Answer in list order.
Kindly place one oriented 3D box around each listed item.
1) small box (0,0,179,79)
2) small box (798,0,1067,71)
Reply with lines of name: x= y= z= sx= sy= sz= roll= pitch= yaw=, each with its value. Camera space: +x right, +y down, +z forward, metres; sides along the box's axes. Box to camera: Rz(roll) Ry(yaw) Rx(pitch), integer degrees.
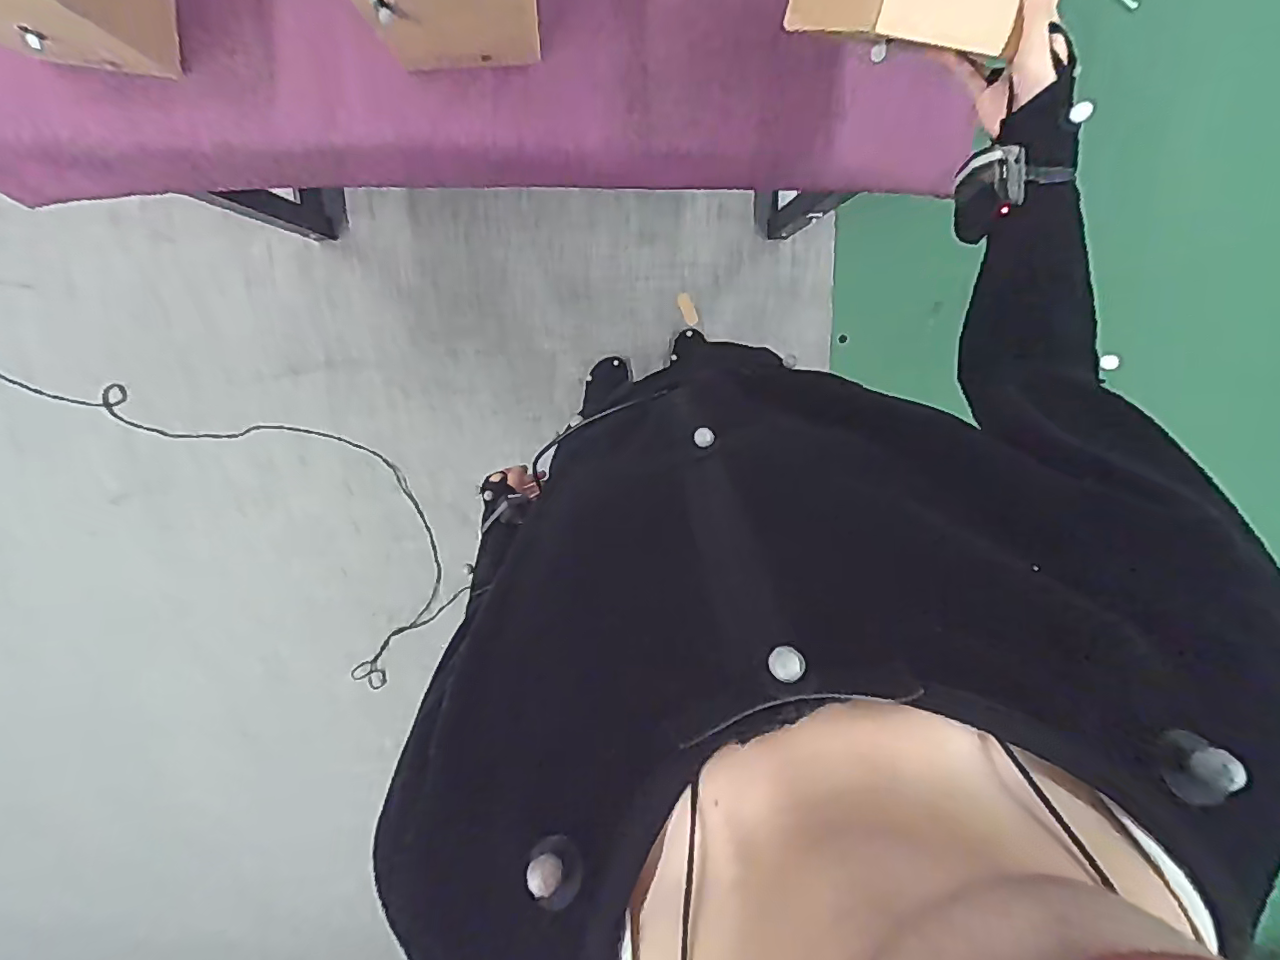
small box: x=-0.594 y=-0.530 z=0.523 sx=0.168 sy=0.176 sz=0.179 roll=5 pitch=103 yaw=-5
small box: x=0.258 y=-0.472 z=0.461 sx=0.168 sy=0.176 sz=0.179 roll=-4 pitch=129 yaw=-16
